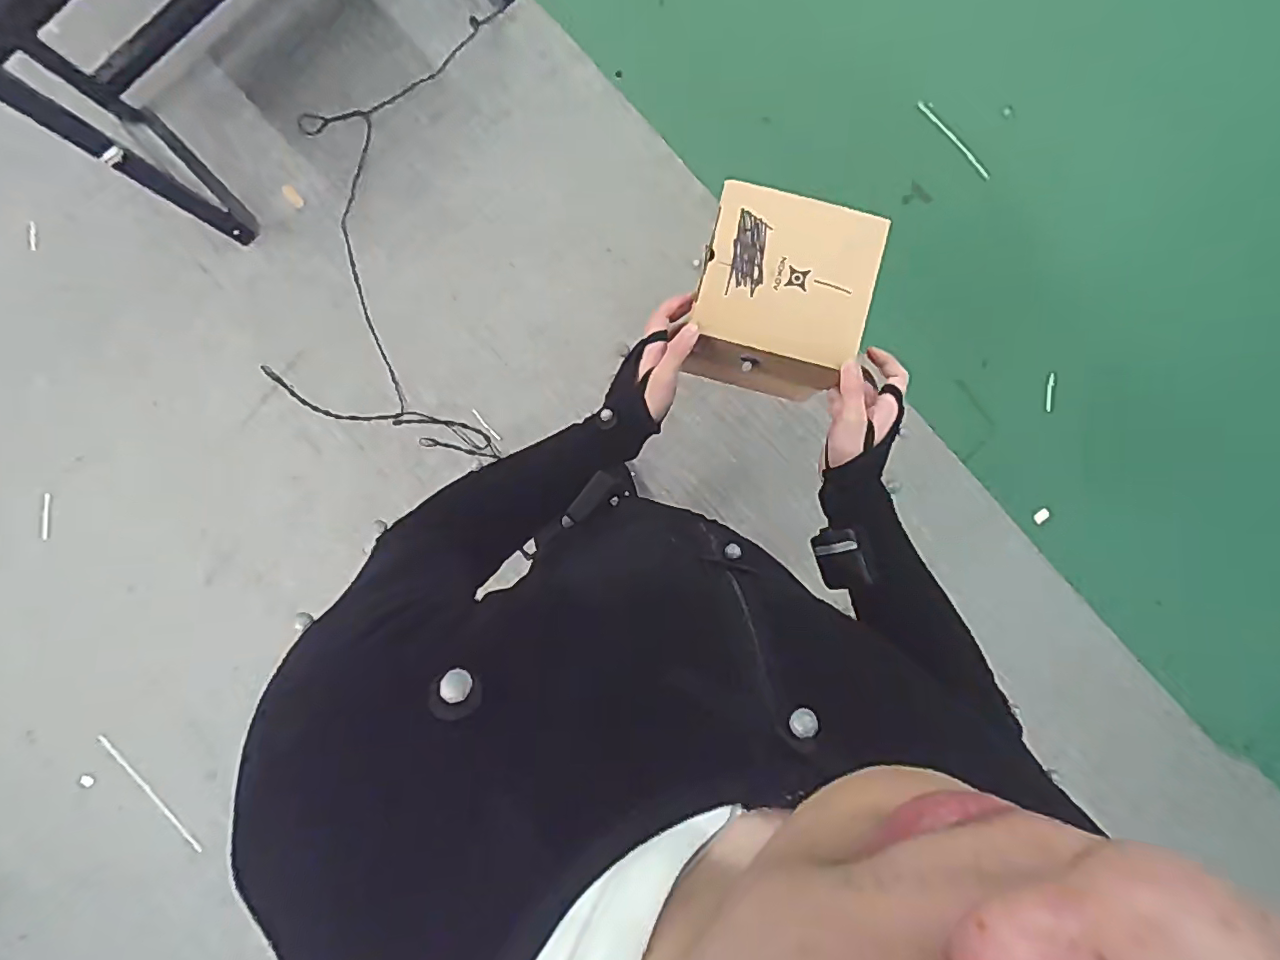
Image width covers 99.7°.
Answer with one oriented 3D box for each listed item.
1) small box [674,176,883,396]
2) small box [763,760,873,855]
[{"bbox_3d":[0.142,-0.206,0.623,0.179,0.176,0.168,15,87,0],"label":"small box"},{"bbox_3d":[0.414,0.823,1.300,0.179,0.176,0.168,-37,87,0],"label":"small box"}]
